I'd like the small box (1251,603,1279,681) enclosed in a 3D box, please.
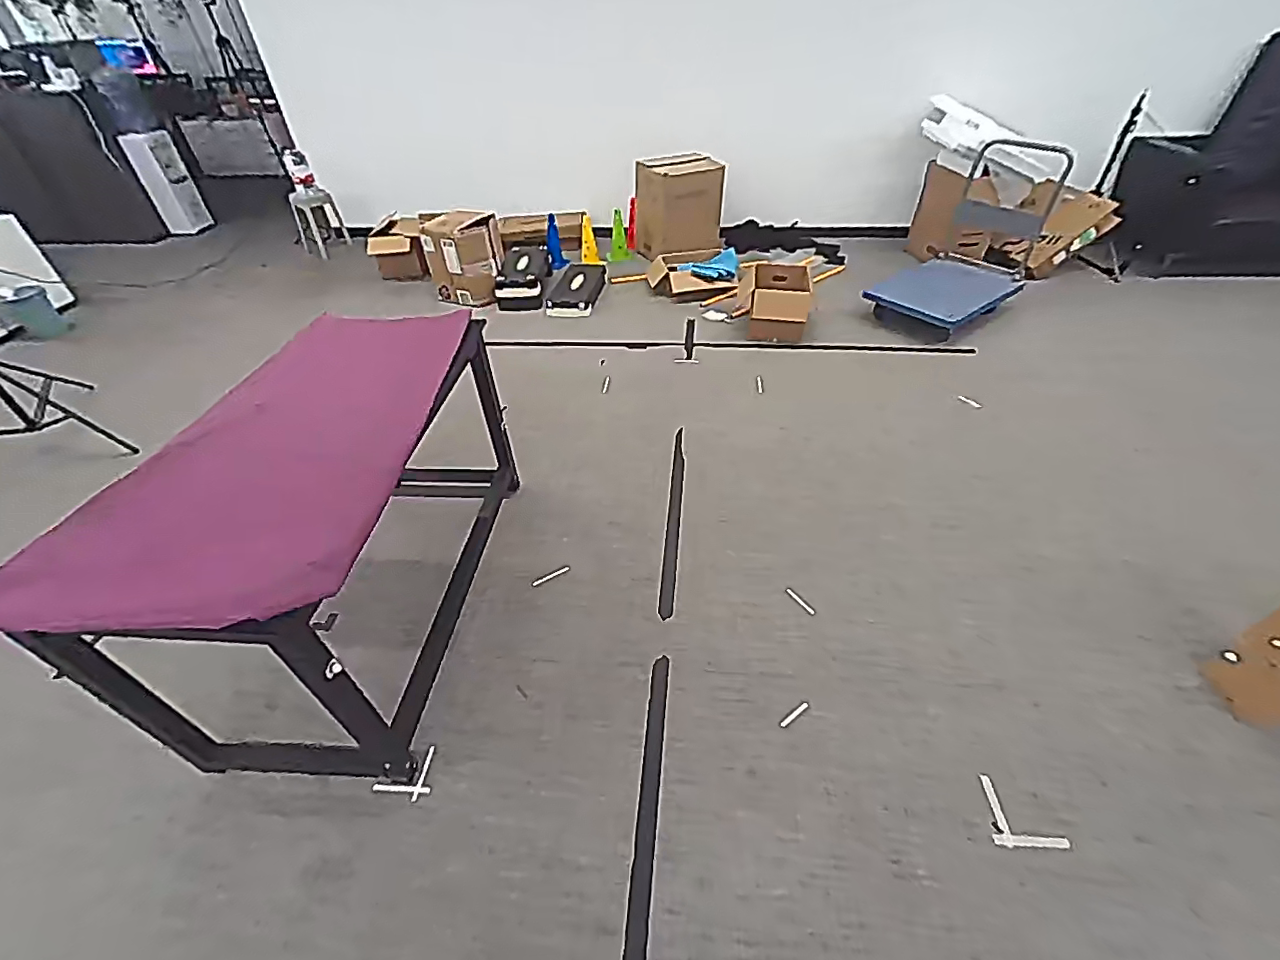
[{"bbox_3d":[1.726,0.422,1.363,0.179,0.176,0.168,6,42,8],"label":"small box"}]
